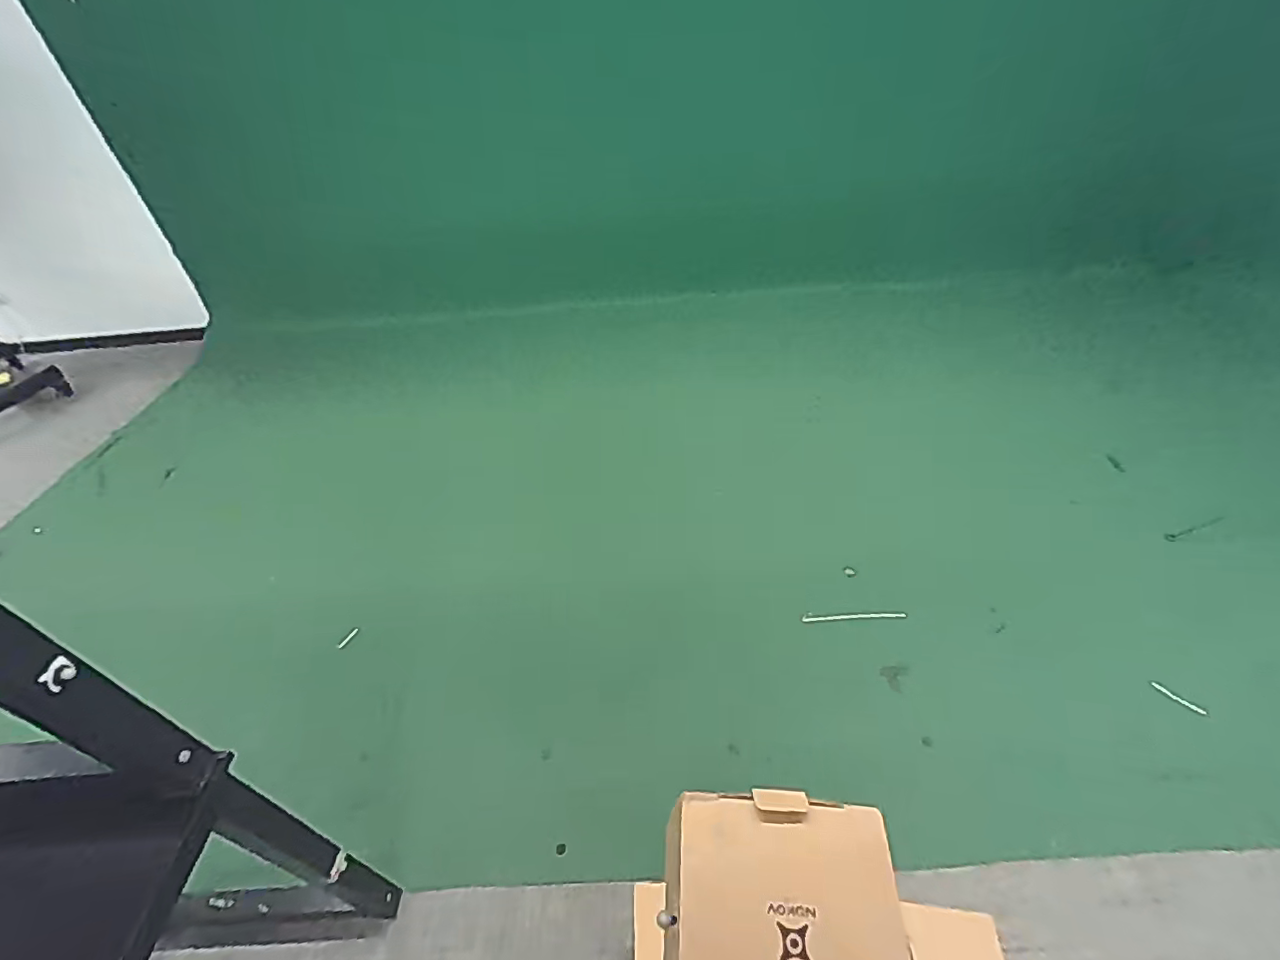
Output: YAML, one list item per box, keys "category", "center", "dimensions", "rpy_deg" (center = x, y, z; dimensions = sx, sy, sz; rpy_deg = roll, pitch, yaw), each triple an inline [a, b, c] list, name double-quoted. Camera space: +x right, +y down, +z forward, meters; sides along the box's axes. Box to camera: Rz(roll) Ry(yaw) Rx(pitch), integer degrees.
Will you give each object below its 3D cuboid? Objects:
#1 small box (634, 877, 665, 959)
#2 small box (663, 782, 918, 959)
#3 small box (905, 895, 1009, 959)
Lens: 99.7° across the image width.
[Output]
- category: "small box"
  center: [0.081, 0.809, 0.930]
  dimensions: [0.168, 0.176, 0.179]
  rpy_deg: [-5, 40, 2]
- category: "small box"
  center: [0.106, 0.366, 0.436]
  dimensions: [0.168, 0.176, 0.179]
  rpy_deg: [4, 50, 1]
- category: "small box"
  center: [0.404, 0.707, 0.758]
  dimensions: [0.179, 0.176, 0.168]
  rpy_deg: [2, 43, 8]
